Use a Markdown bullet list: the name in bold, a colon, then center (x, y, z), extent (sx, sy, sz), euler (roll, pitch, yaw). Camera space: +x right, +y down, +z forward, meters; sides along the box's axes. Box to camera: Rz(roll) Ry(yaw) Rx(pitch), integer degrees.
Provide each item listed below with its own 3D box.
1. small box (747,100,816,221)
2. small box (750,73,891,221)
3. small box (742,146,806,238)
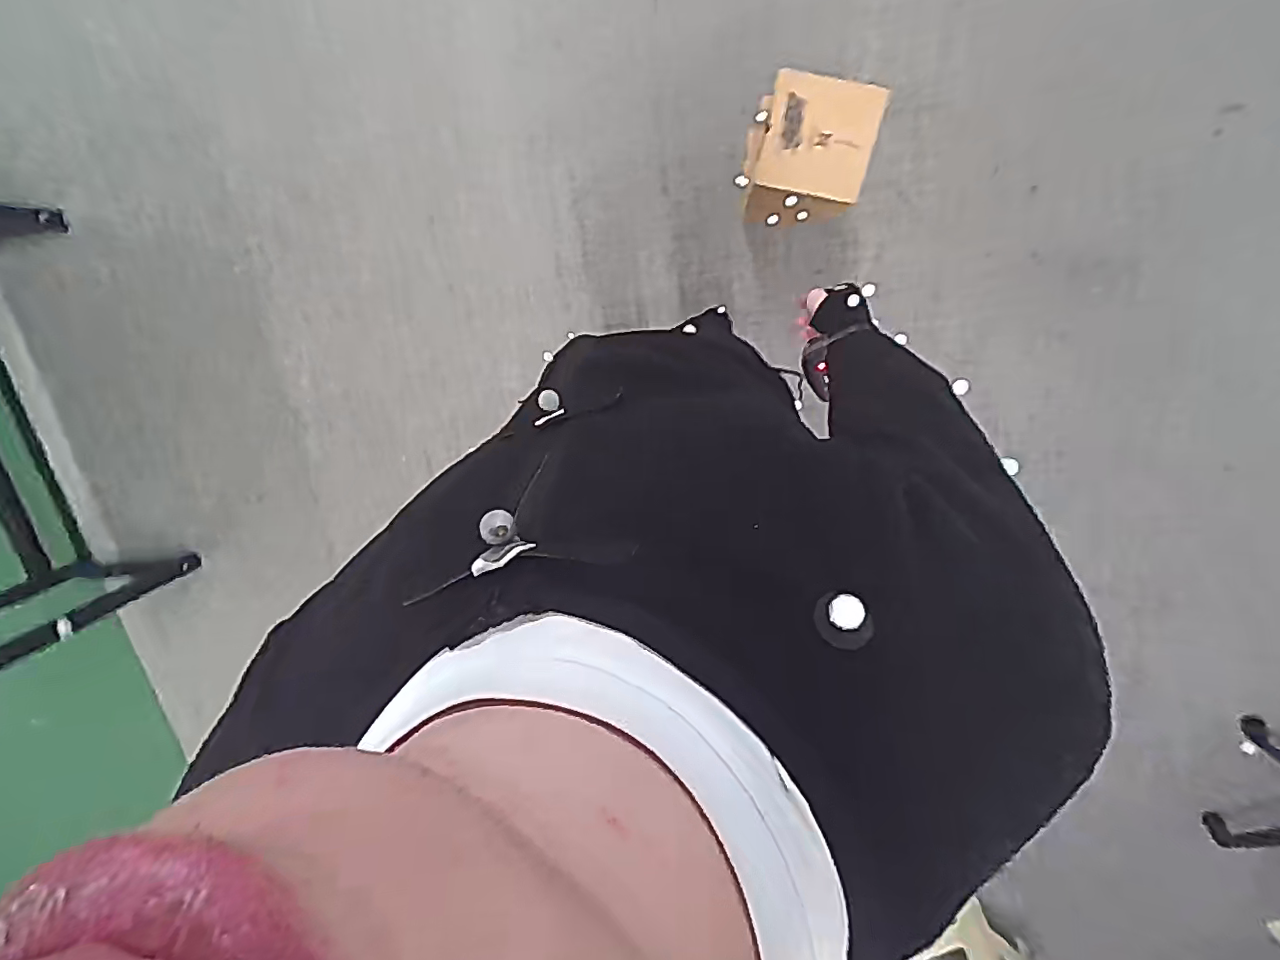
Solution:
- **small box**: center (0.314, -0.637, 1.099), extent (0.168, 0.176, 0.179), euler (8, 107, 5)
- **small box**: center (0.300, -0.568, 0.947), extent (0.179, 0.176, 0.168), euler (18, 111, 2)
- **small box**: center (0.344, -0.687, 1.244), extent (0.168, 0.176, 0.179), euler (-27, 100, 14)
